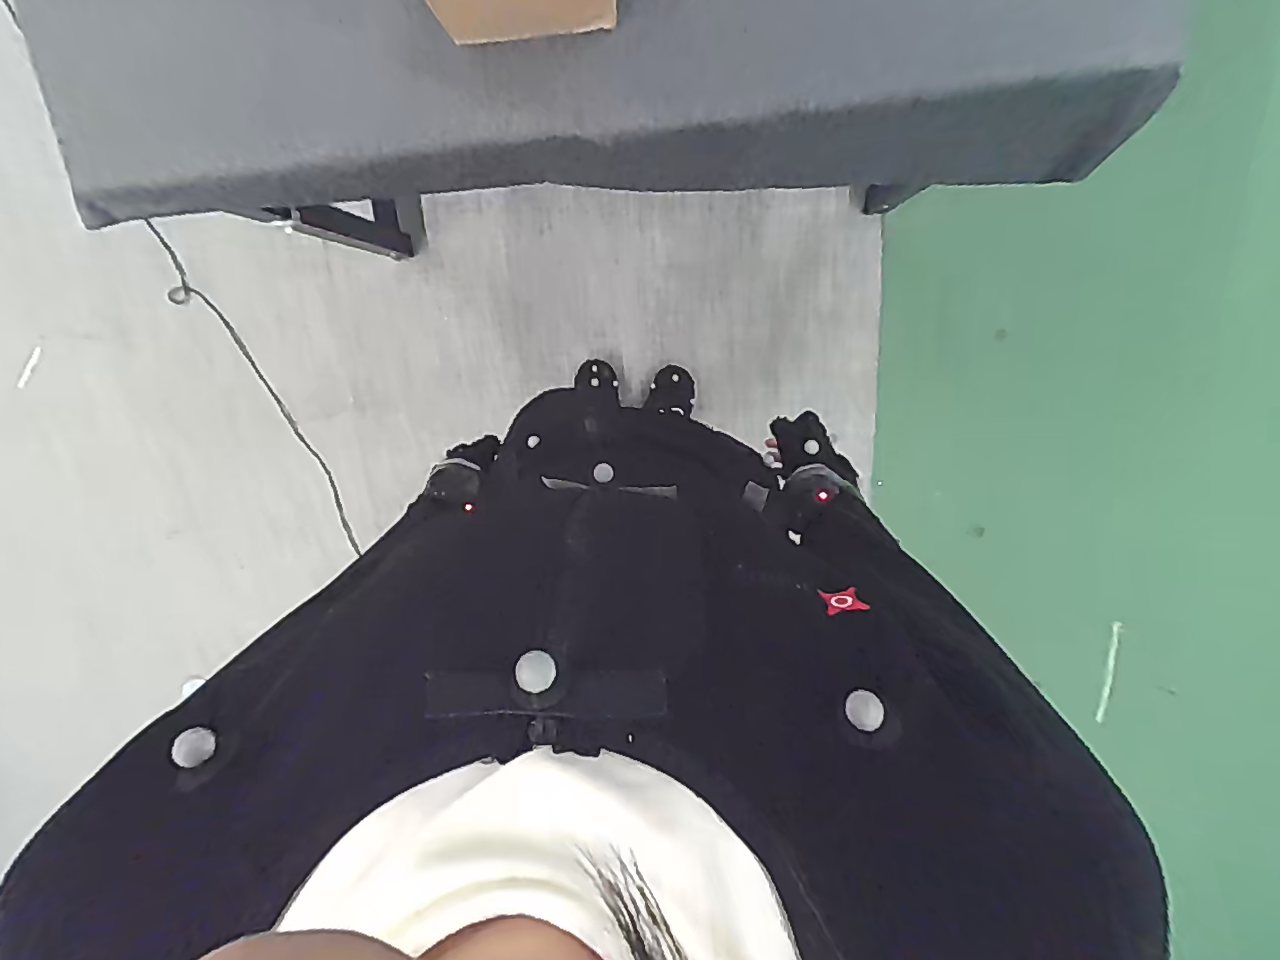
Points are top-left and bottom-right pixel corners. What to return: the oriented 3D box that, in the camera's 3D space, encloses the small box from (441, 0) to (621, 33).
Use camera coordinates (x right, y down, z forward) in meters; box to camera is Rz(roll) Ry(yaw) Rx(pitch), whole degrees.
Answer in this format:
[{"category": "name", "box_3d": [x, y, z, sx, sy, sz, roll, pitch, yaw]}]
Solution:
[{"category": "small box", "box_3d": [-0.115, -0.530, 0.472, 0.179, 0.176, 0.168, -3, 106, 4]}]
